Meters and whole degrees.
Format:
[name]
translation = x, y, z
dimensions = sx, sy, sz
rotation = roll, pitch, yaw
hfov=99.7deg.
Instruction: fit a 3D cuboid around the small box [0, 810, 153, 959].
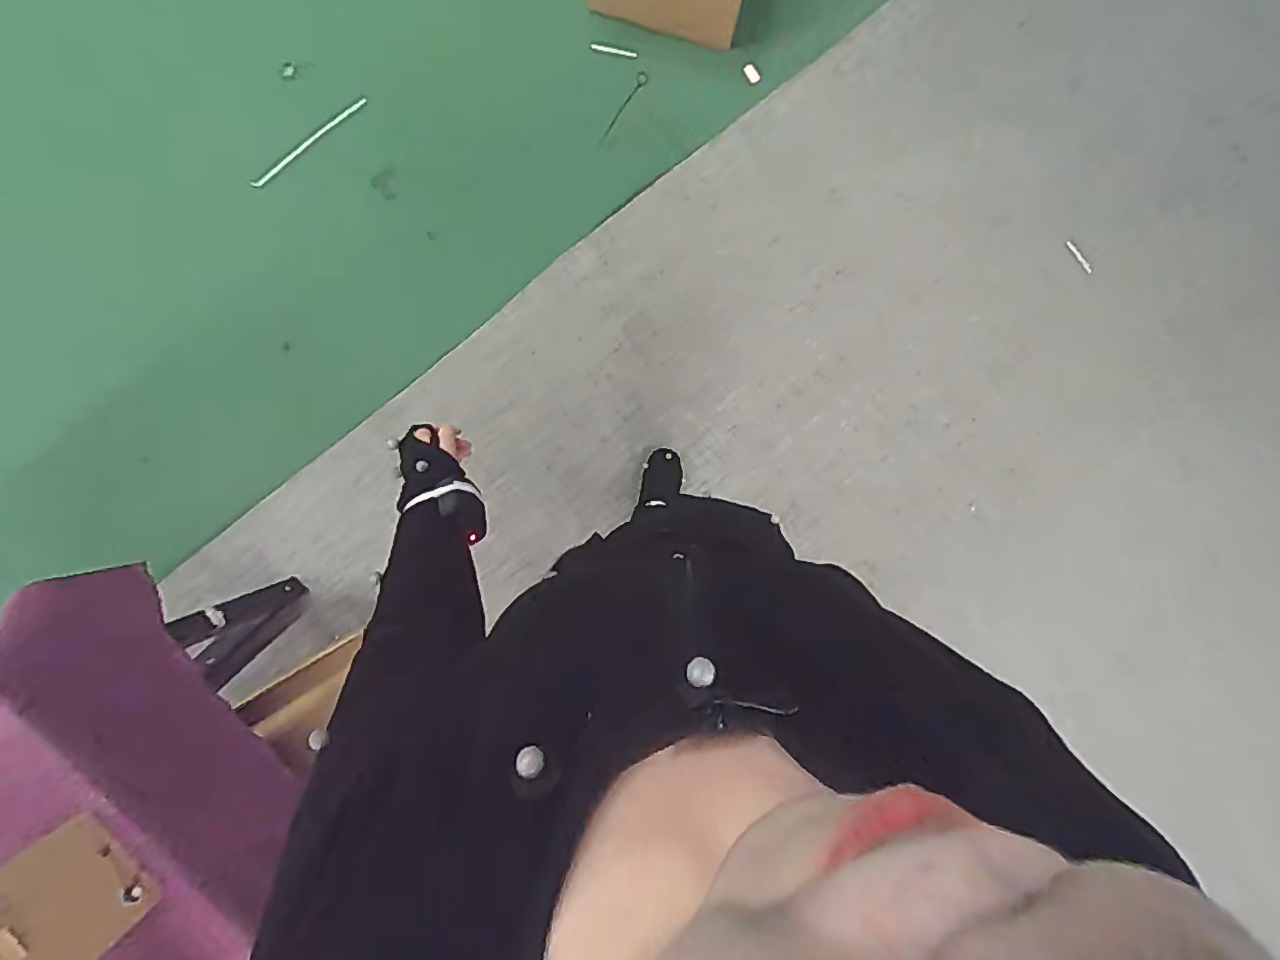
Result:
[small box]
translation = -0.788, 0.575, 0.690
dimensions = 0.179, 0.176, 0.168
rotation = -38, 93, 1
